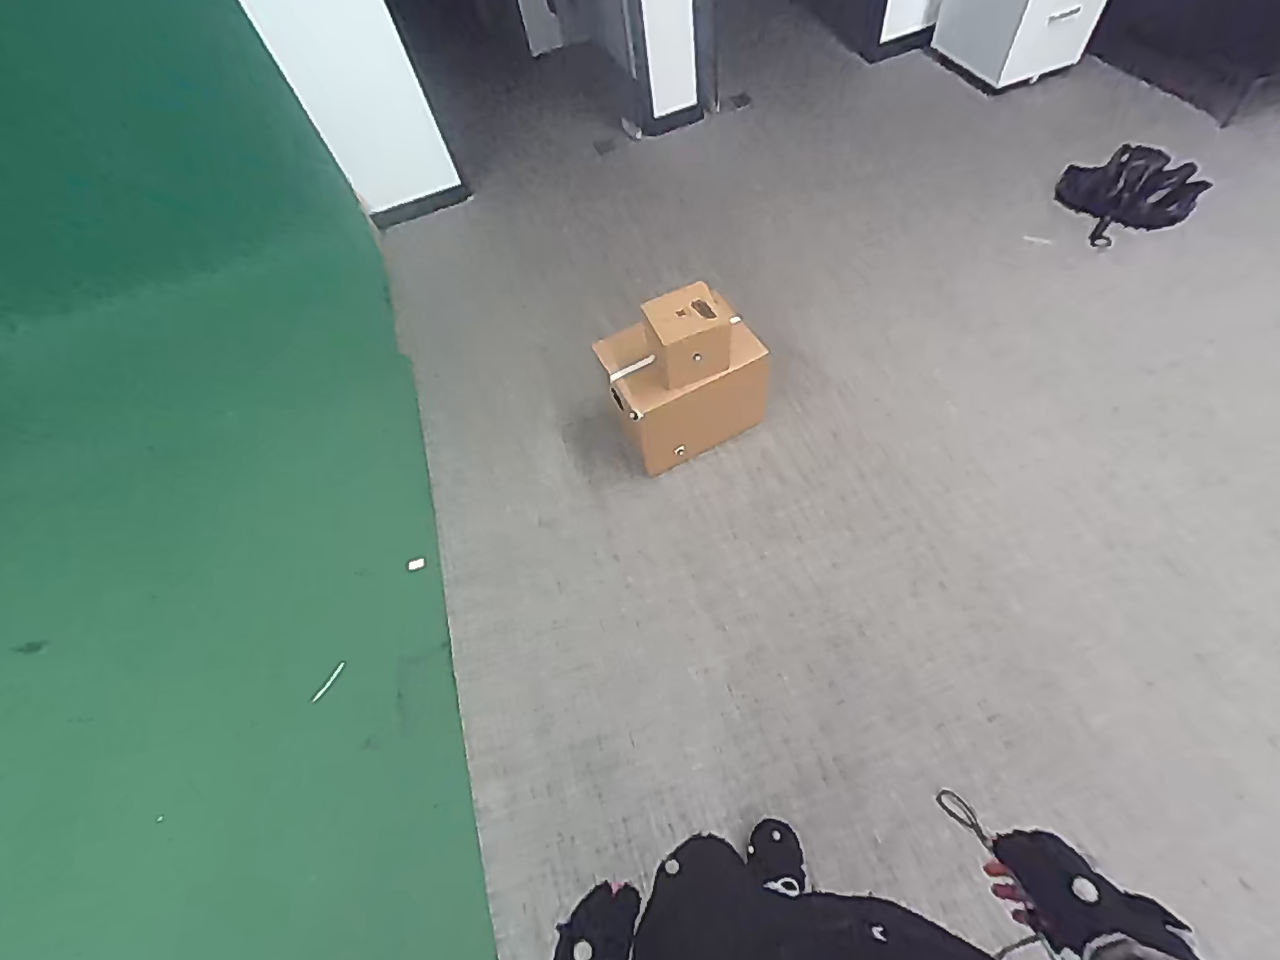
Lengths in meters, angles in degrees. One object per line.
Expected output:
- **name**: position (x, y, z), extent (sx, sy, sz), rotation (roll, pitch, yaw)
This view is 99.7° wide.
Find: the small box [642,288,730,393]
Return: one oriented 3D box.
- **small box**: position (0.121, -0.360, 1.411), extent (0.179, 0.176, 0.168), rotation (-22, 59, -3)
